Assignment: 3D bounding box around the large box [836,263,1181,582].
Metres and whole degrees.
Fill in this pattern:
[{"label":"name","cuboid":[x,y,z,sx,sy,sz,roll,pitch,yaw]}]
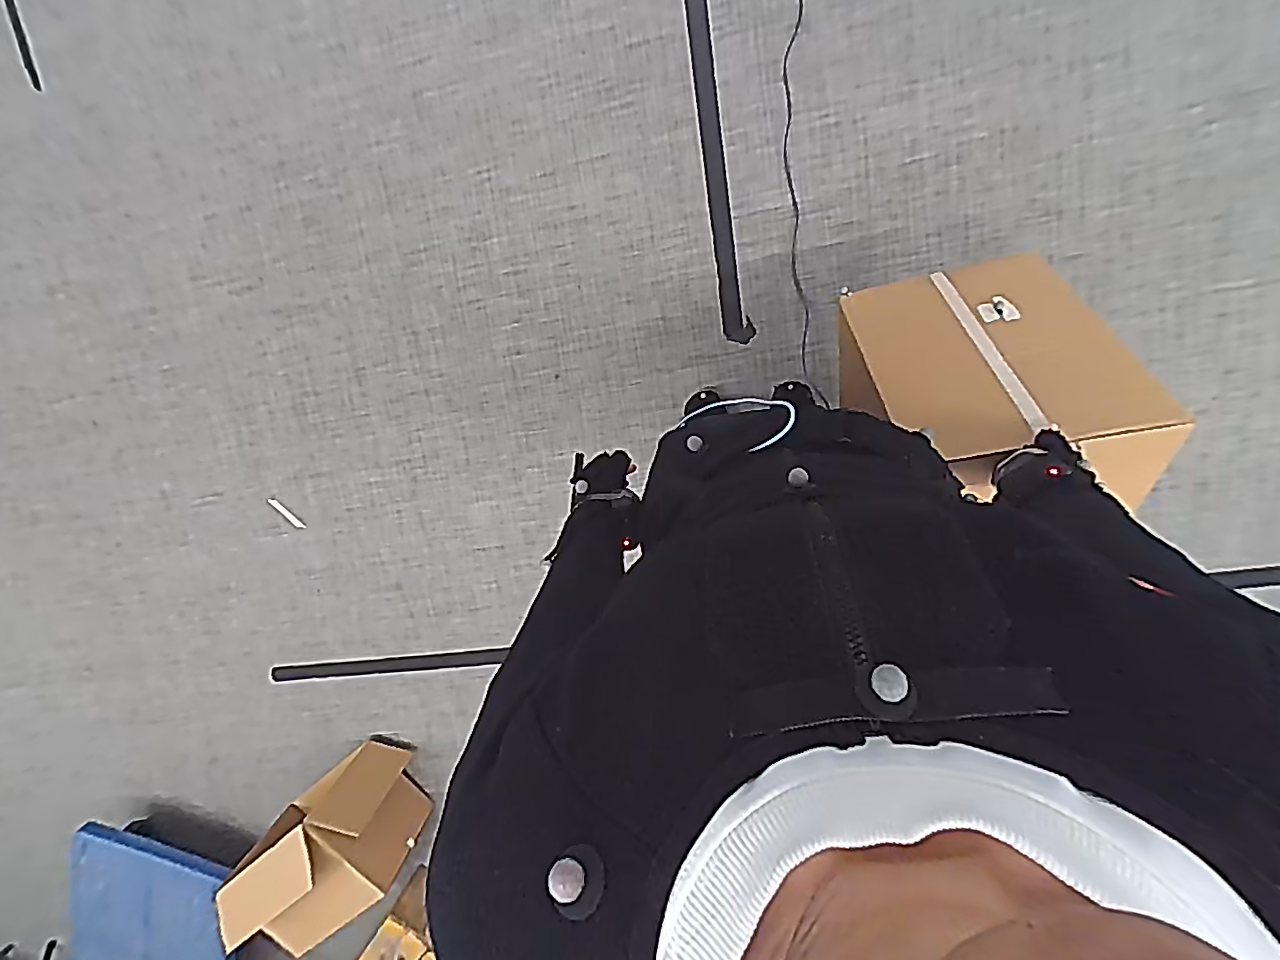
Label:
[{"label":"large box","cuboid":[0.538,-0.094,0.909,0.320,0.408,0.320,-10,137,10]}]
